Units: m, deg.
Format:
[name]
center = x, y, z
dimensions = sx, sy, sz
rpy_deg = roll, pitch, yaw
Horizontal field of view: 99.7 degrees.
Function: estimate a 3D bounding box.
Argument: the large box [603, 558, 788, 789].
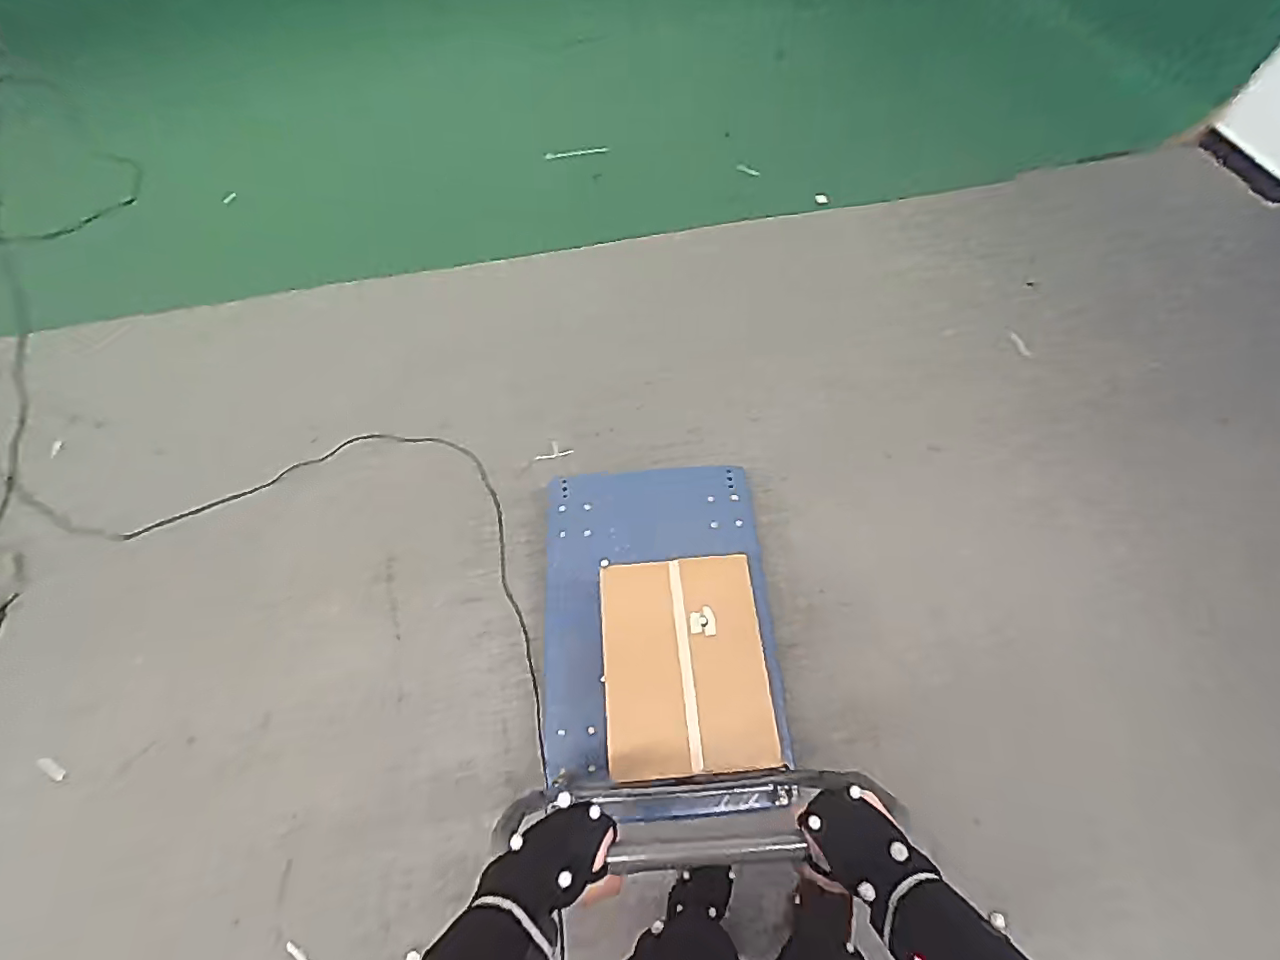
[large box]
center = 0.097, 0.423, 1.169
dimensions = 0.320, 0.320, 0.408
rpy_deg = -4, 61, -2
